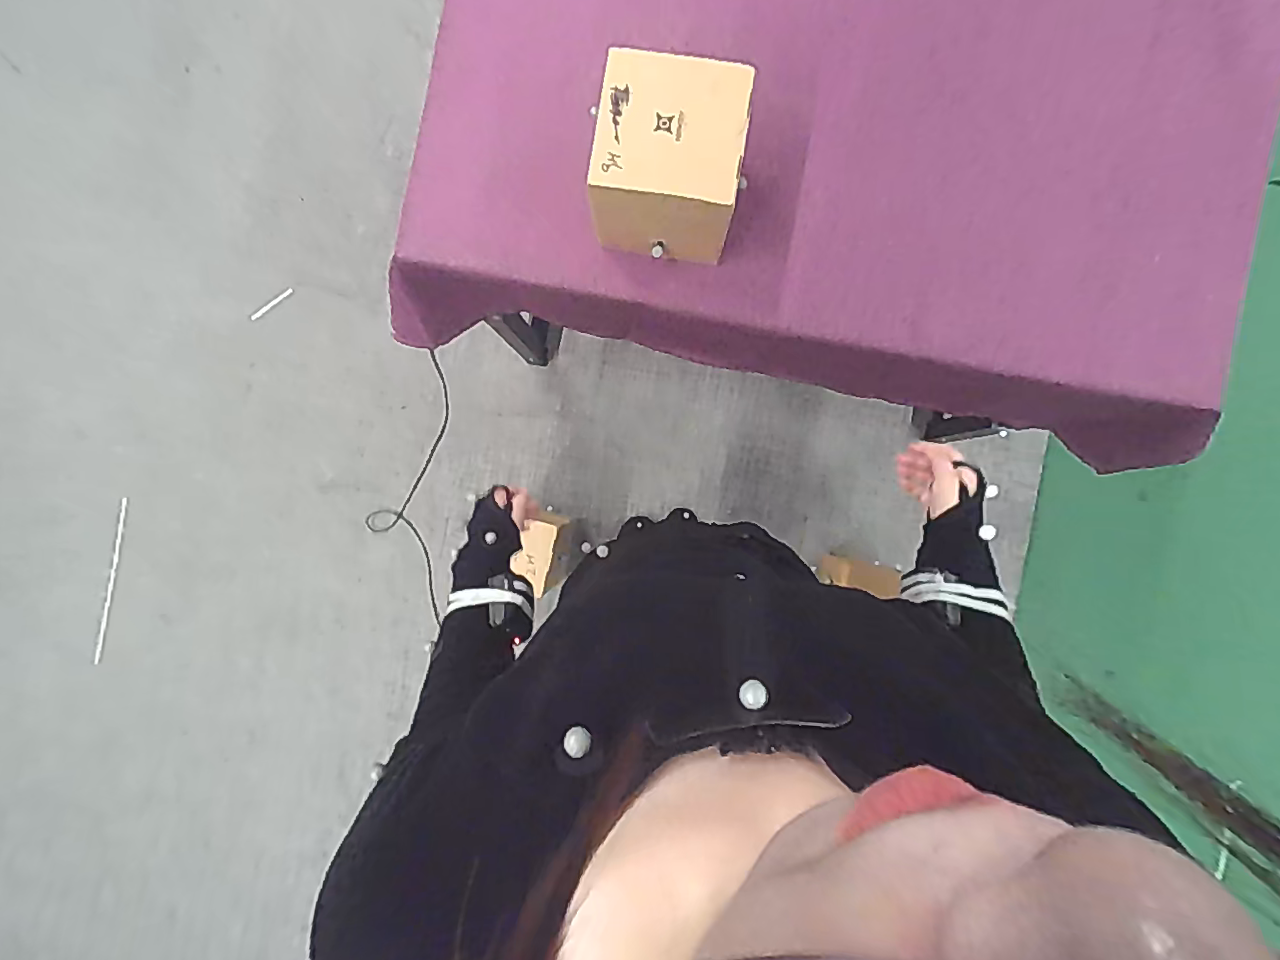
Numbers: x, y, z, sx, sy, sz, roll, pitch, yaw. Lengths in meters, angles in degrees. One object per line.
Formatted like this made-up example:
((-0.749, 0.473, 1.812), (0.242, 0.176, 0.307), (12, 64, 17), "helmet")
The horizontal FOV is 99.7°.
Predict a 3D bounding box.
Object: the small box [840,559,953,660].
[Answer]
((0.583, 0.292, 1.252), (0.168, 0.176, 0.179), (12, 89, 0), "small box")

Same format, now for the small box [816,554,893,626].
((0.577, 0.294, 1.415), (0.179, 0.176, 0.168), (9, 89, 1), "small box")

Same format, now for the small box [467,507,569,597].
((-0.278, 0.162, 1.272), (0.179, 0.176, 0.168), (13, 89, 1), "small box")

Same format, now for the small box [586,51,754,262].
((0.035, -0.406, 0.709), (0.179, 0.176, 0.168), (9, 89, 1), "small box")
